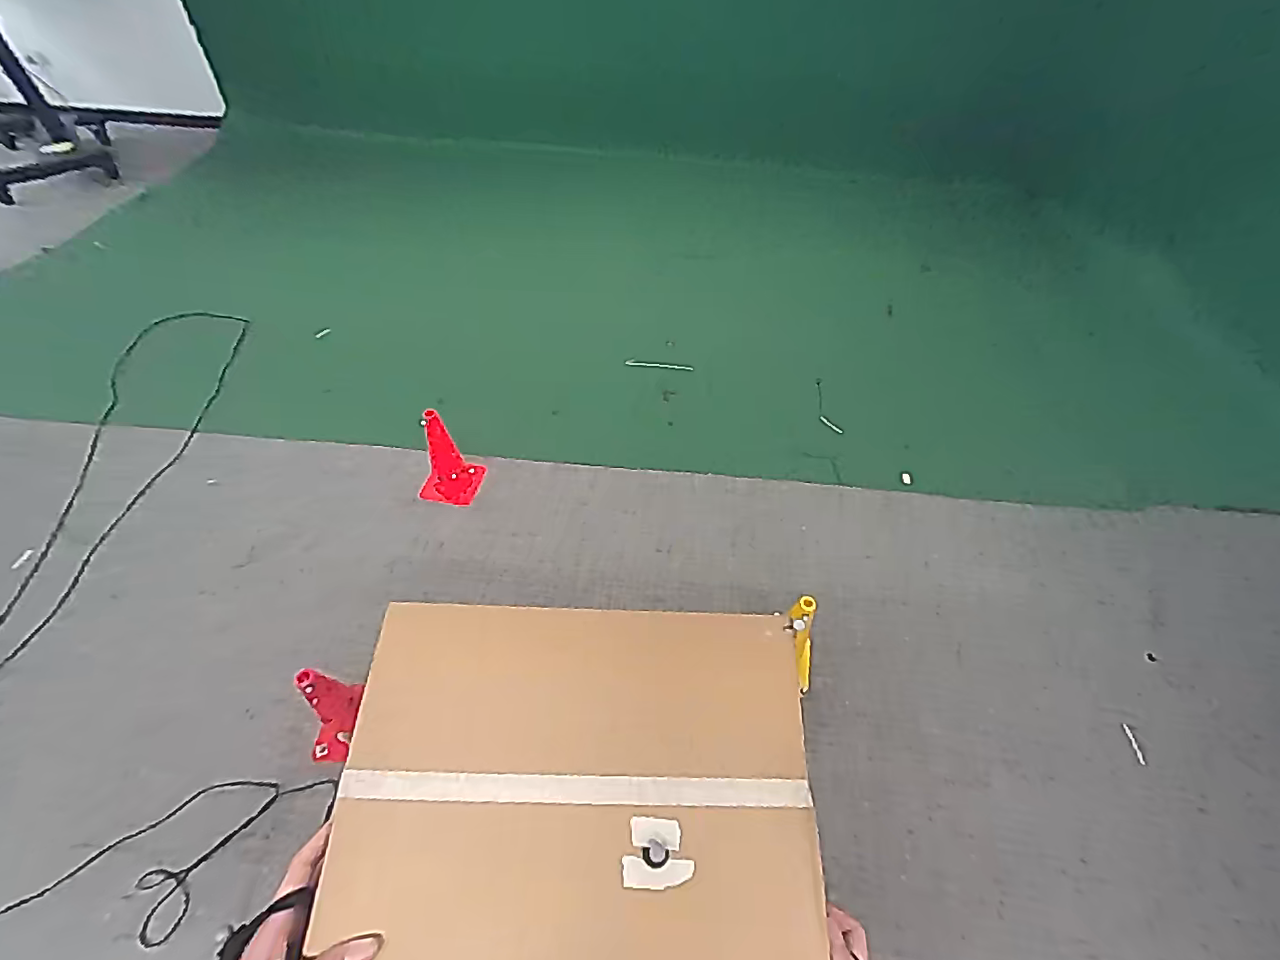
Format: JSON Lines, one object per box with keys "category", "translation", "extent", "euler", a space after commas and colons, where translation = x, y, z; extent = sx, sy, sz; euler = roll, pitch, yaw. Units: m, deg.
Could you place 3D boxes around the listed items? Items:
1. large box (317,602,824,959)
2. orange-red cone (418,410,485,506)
{"category": "large box", "translation": [-0.059, 0.337, 0.614], "extent": [0.408, 0.320, 0.320], "euler": [2, 61, -2]}
{"category": "orange-red cone", "translation": [-0.701, -0.101, 1.901], "extent": [0.199, 0.360, 0.198], "euler": [10, 49, 7]}
